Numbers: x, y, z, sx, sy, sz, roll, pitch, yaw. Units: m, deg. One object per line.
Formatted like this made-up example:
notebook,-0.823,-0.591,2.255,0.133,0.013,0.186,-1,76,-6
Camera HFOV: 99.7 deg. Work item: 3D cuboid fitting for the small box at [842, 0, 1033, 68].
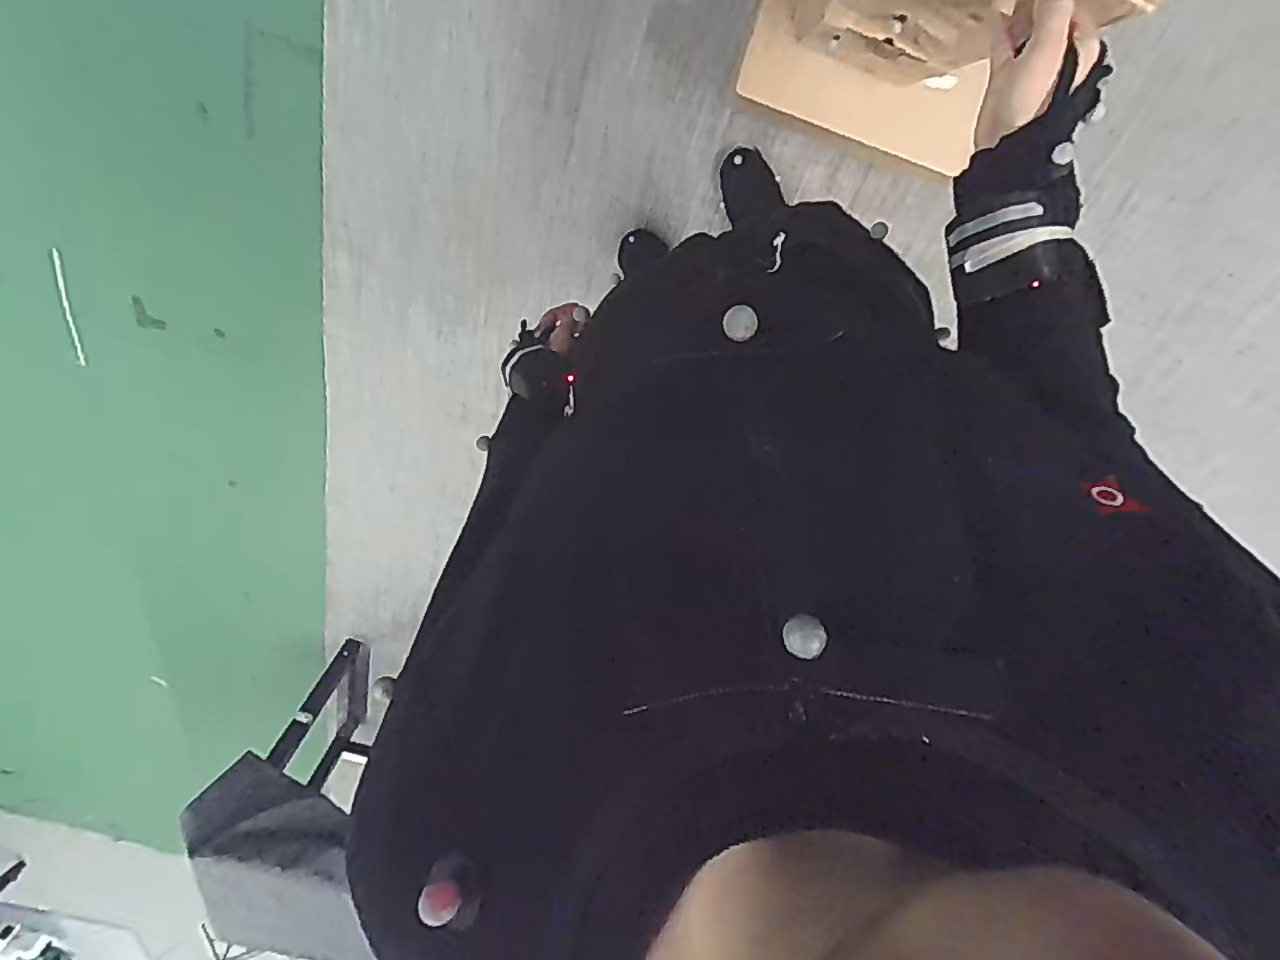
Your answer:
small box,0.313,-0.524,0.499,0.168,0.176,0.179,21,120,-8

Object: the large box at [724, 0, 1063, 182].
large box,0.381,-0.709,0.858,0.408,0.320,0.320,16,123,-6

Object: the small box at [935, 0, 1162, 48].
small box,0.290,-0.434,0.363,0.168,0.176,0.179,20,119,-9
